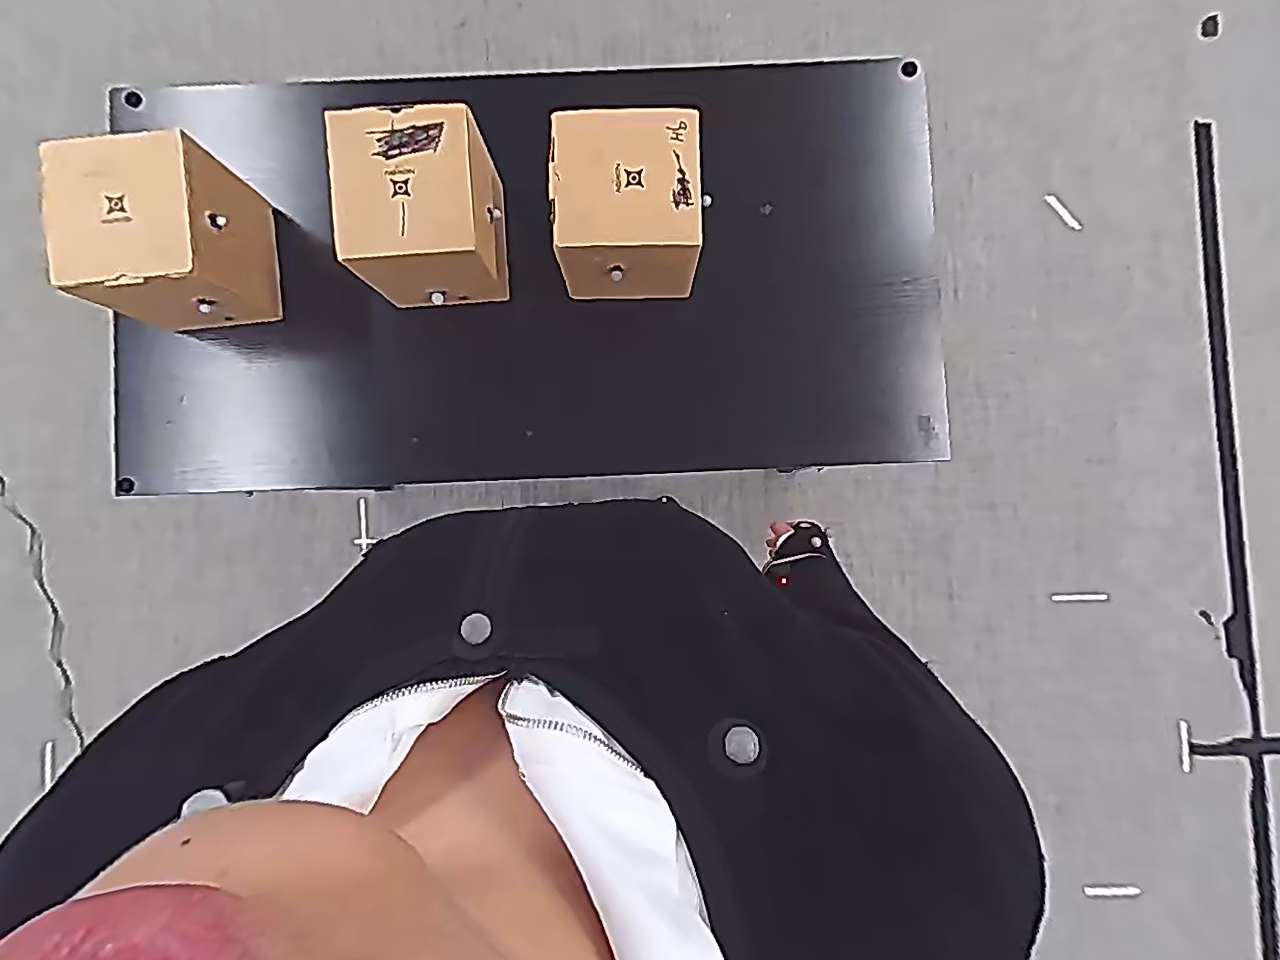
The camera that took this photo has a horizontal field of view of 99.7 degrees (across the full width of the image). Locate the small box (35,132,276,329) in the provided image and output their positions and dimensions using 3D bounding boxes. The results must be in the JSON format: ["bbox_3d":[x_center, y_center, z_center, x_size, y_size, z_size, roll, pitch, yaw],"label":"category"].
[{"bbox_3d":[-0.607,-0.306,0.700,0.168,0.176,0.179,-7,87,-2],"label":"small box"}]

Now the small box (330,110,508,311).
[{"bbox_3d":[-0.275,-0.338,0.705,0.168,0.176,0.179,-4,89,-1],"label":"small box"}]

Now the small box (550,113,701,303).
[{"bbox_3d":[-0.015,-0.342,0.708,0.179,0.176,0.168,-1,88,0],"label":"small box"}]
